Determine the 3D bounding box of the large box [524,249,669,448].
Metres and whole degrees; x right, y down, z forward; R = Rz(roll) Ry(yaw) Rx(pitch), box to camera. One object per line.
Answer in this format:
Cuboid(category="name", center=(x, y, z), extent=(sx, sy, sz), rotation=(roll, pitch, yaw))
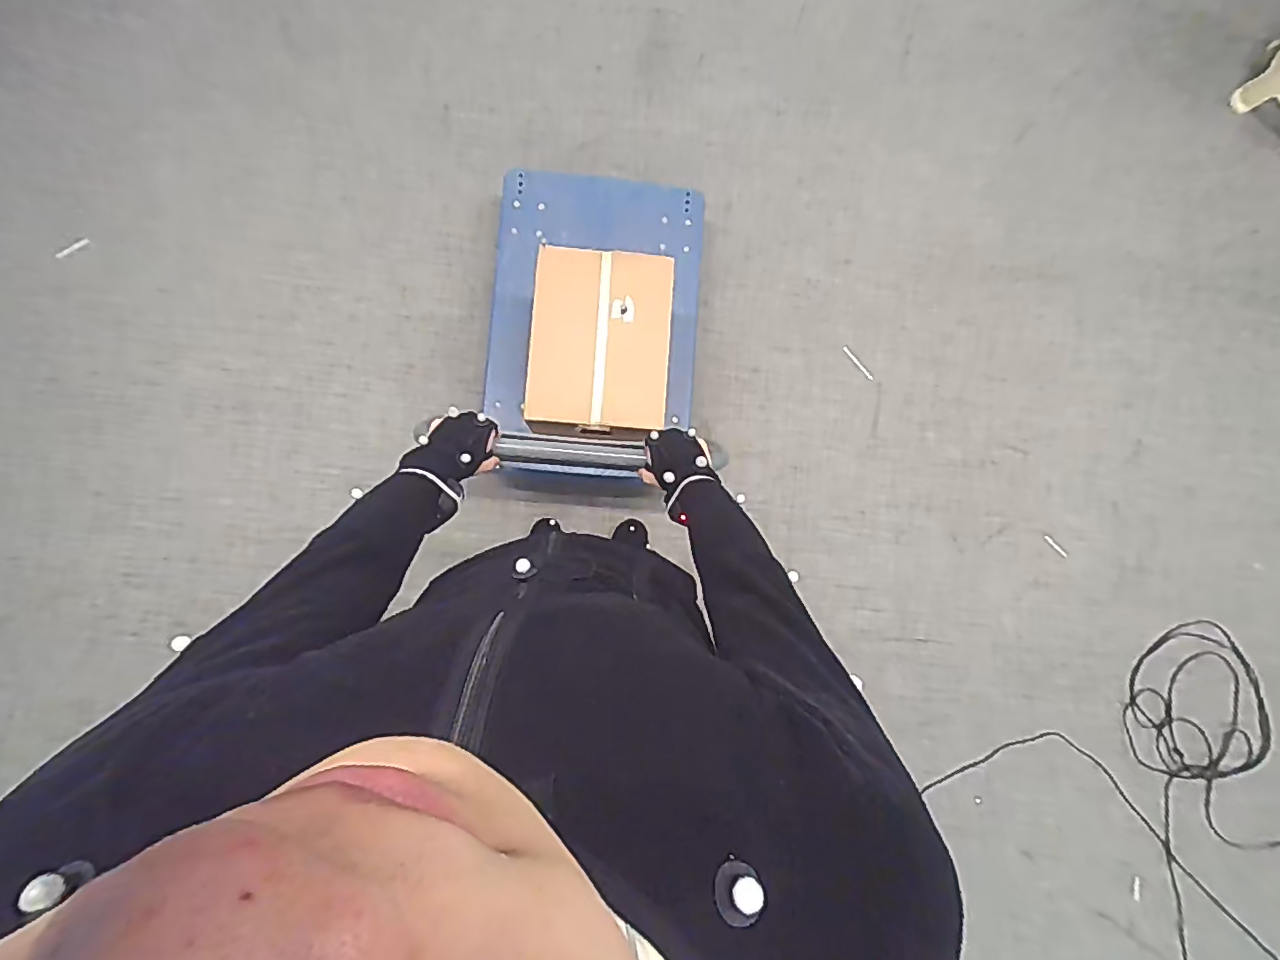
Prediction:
Cuboid(category="large box", center=(-0.104, -0.303, 1.361), extent=(0.320, 0.320, 0.408), rotation=(4, 84, -5))
